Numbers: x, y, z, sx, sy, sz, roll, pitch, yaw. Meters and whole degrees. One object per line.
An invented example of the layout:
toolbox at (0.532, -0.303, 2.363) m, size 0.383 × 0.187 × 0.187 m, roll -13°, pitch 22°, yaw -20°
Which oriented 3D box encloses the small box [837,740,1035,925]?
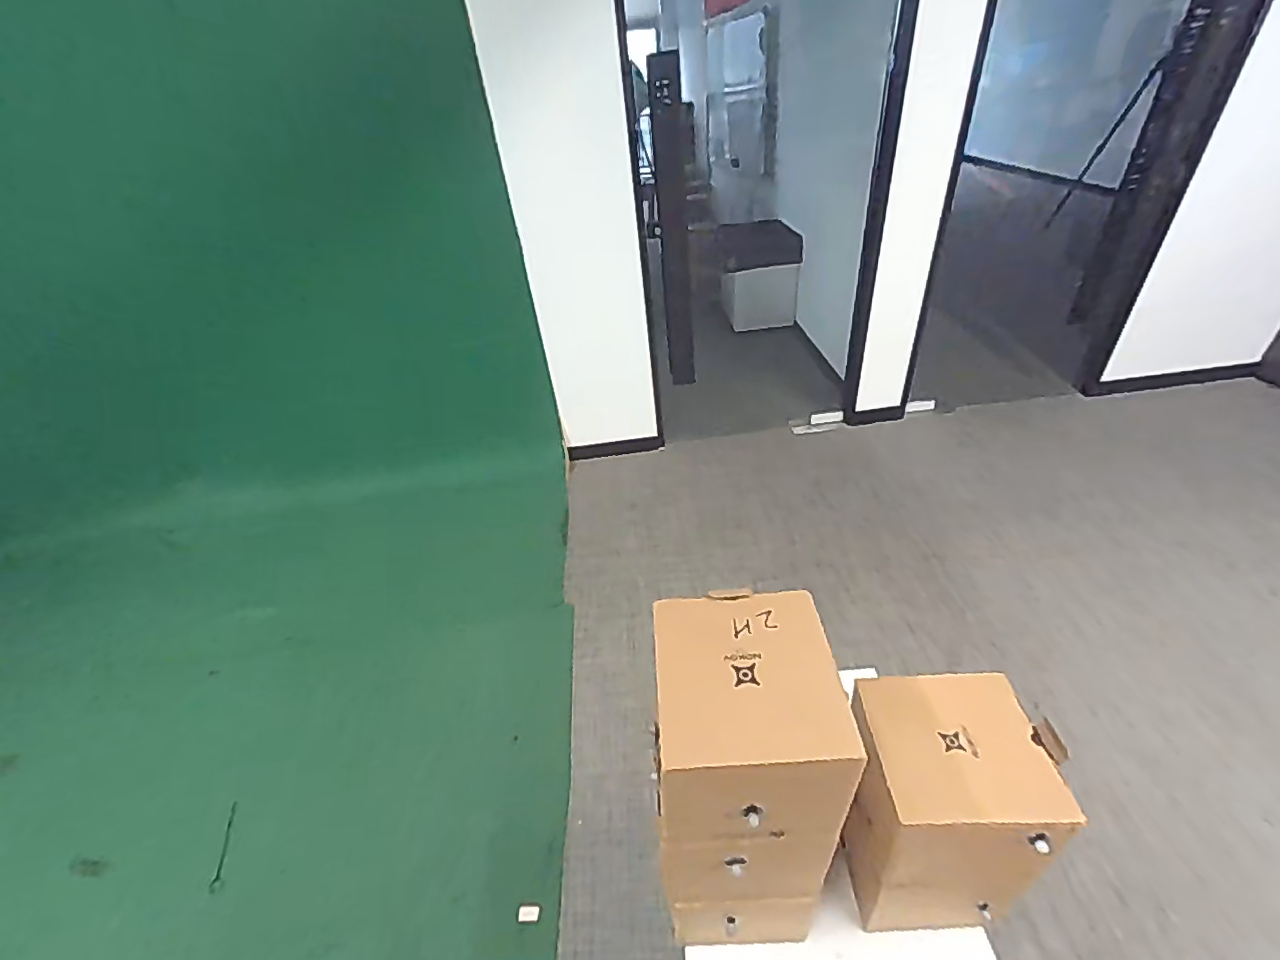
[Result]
small box at (0.376, 0.476, 0.731) m, size 0.179 × 0.176 × 0.168 m, roll -7°, pitch 37°, yaw 4°

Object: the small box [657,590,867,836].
small box at (0.106, 0.236, 0.544) m, size 0.168 × 0.176 × 0.179 m, roll -4°, pitch 38°, yaw 1°

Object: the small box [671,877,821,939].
small box at (0.131, 0.501, 0.738) m, size 0.179 × 0.176 × 0.168 m, roll -4°, pitch 38°, yaw 2°

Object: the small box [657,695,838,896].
small box at (0.115, 0.369, 0.641) m, size 0.179 × 0.176 × 0.168 m, roll -4°, pitch 38°, yaw 2°
